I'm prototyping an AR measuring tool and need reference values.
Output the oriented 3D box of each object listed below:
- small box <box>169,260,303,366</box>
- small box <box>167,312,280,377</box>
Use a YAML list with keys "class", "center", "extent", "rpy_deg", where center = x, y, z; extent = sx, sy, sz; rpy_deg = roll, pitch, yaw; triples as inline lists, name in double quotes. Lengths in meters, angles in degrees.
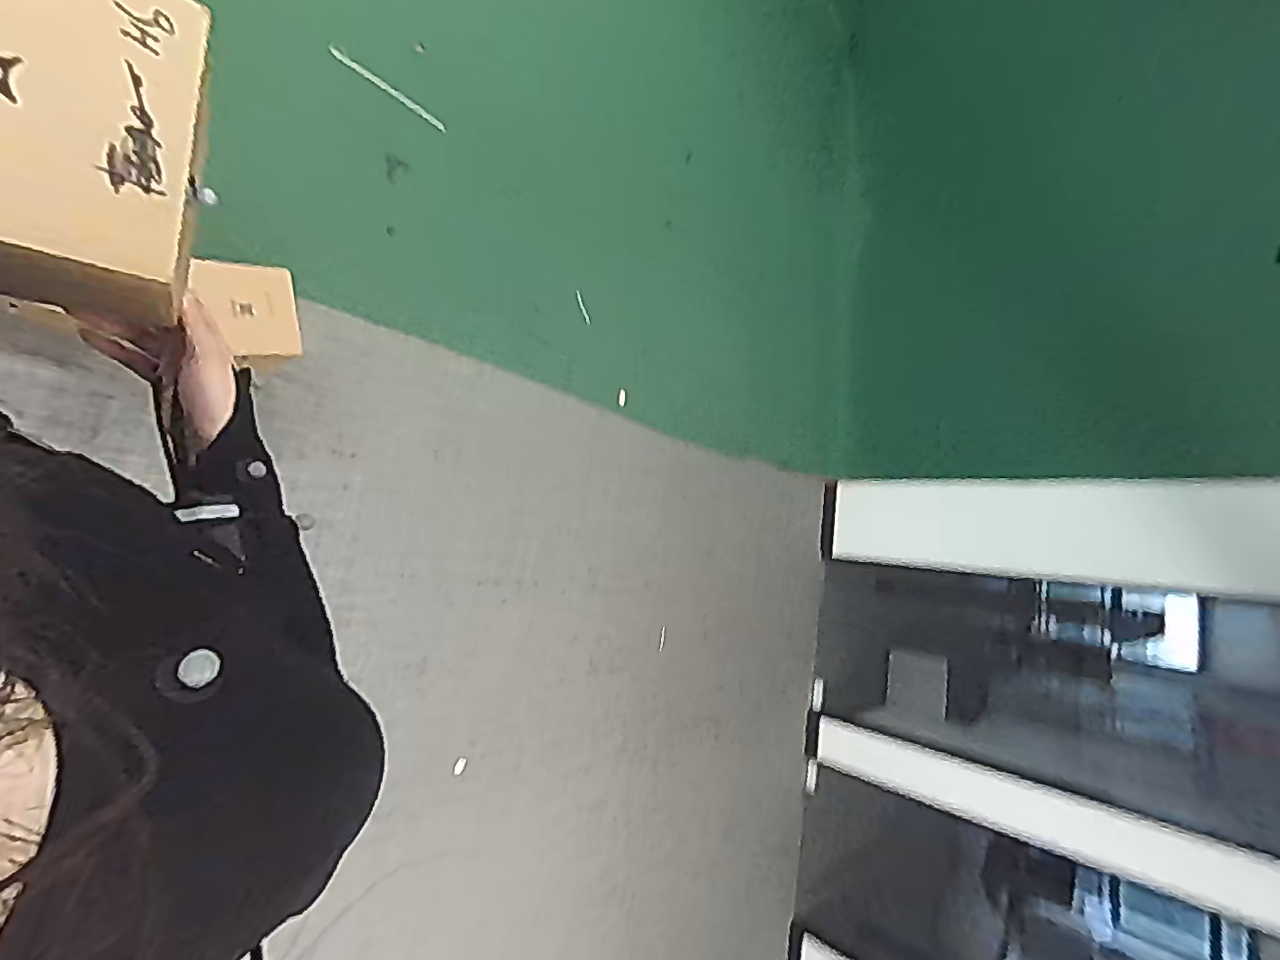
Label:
- class: "small box"
  center: [-0.786, -0.313, 1.048]
  extent: [0.179, 0.176, 0.168]
  rpy_deg: [-13, 102, -46]
- class: "small box"
  center: [-0.896, -0.324, 1.168]
  extent: [0.179, 0.176, 0.168]
  rpy_deg: [5, 87, -47]
